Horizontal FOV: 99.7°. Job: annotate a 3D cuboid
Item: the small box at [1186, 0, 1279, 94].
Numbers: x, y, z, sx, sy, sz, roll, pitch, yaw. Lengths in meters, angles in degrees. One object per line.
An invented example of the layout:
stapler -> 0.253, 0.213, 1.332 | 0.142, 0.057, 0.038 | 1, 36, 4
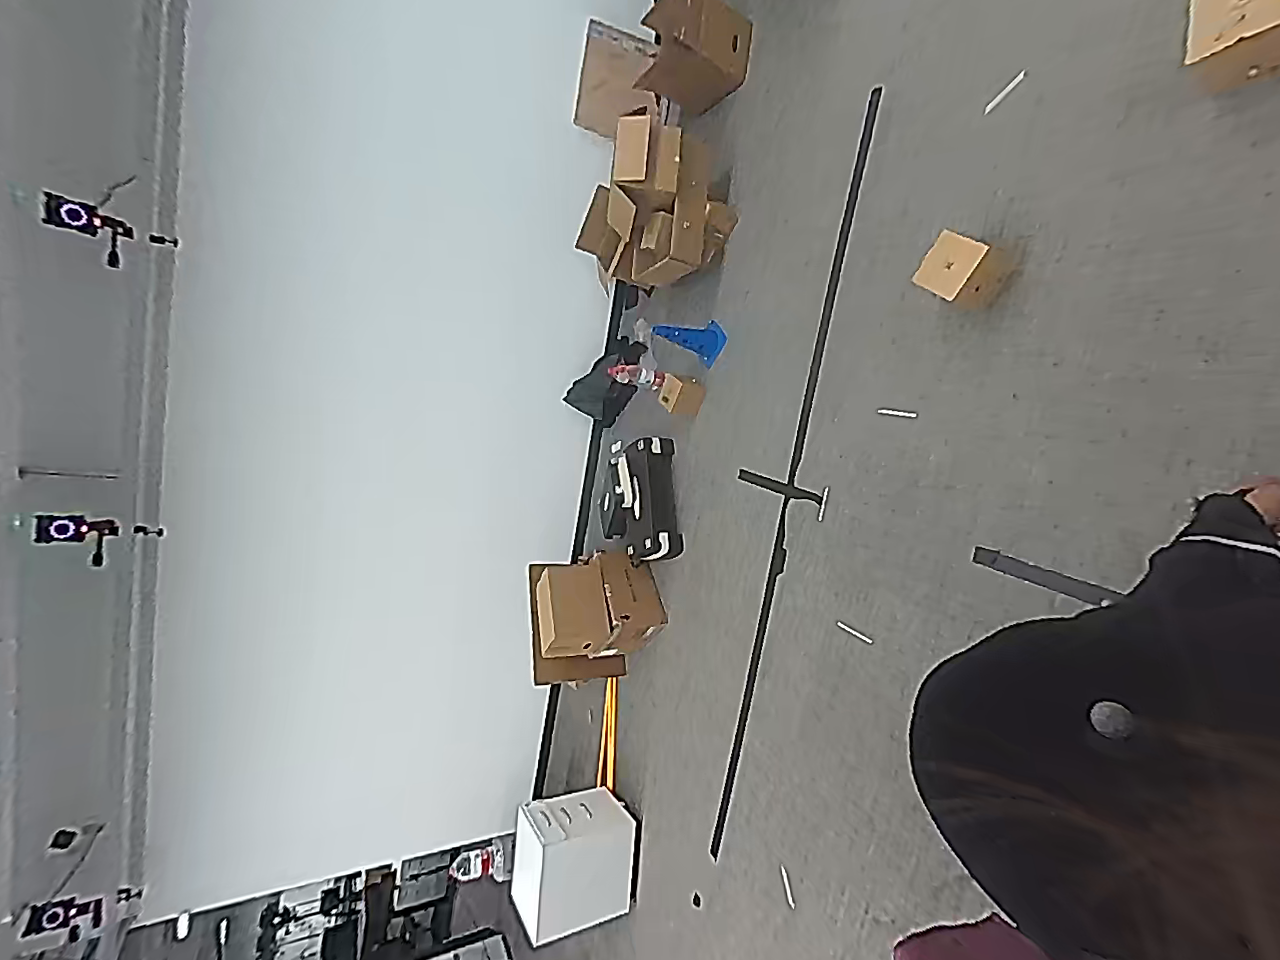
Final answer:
small box -> 1.304, -0.976, 1.144 | 0.168, 0.176, 0.179 | 5, 90, 60

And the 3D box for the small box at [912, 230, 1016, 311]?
small box -> 0.983, -0.629, 1.640 | 0.168, 0.176, 0.179 | -65, 35, 30
